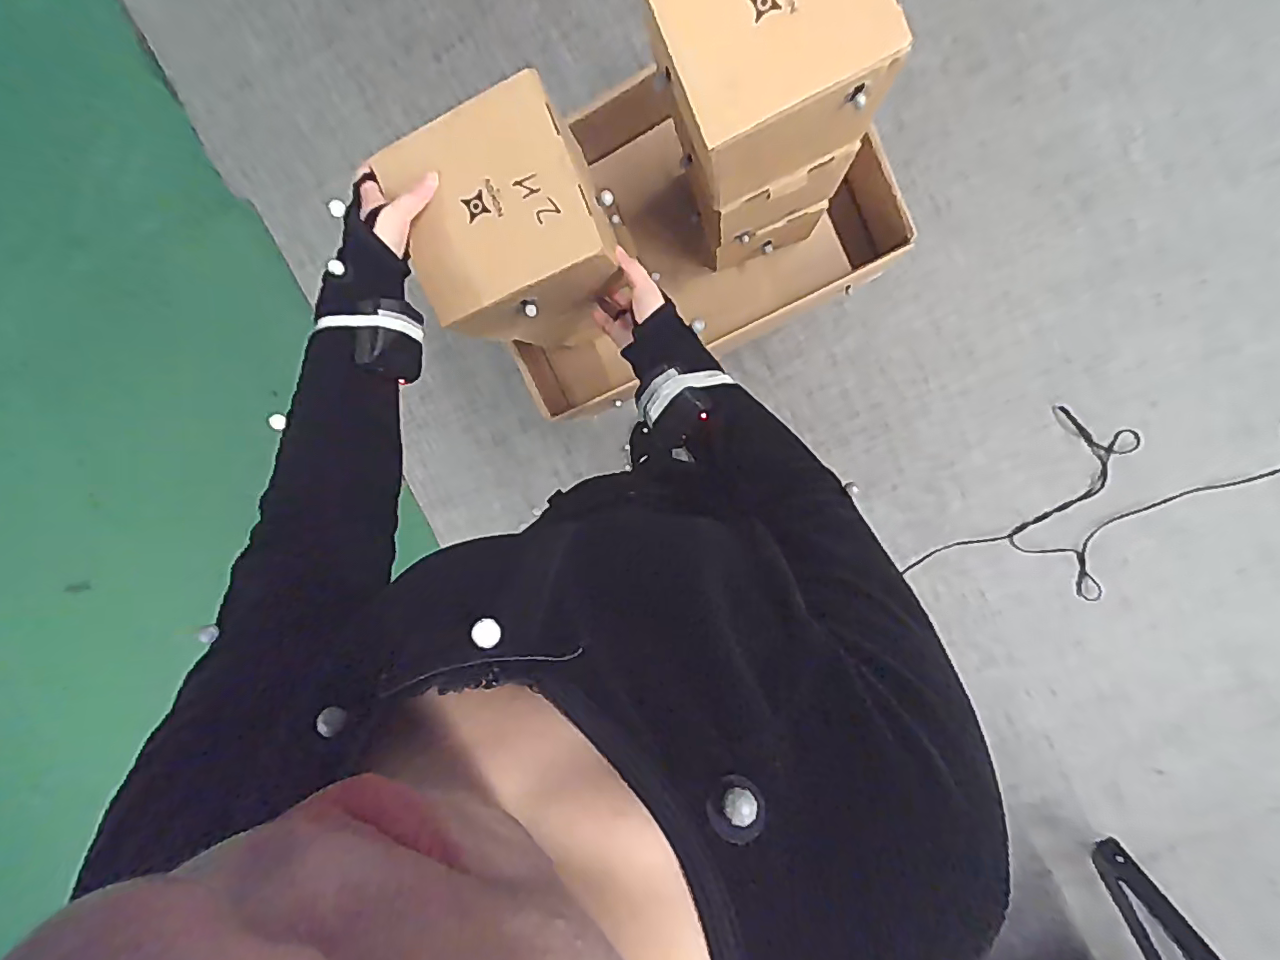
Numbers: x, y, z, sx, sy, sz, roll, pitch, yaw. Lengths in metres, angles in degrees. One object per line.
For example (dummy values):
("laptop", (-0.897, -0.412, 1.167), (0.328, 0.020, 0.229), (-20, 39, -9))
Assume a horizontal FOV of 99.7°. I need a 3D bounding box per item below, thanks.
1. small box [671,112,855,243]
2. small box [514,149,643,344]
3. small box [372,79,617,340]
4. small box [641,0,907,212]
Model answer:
("small box", (0.144, -0.419, 0.675), (0.168, 0.176, 0.179), (-21, 96, 11))
("small box", (-0.107, -0.295, 0.733), (0.168, 0.176, 0.179), (-23, 95, 10))
("small box", (-0.135, -0.263, 0.577), (0.179, 0.176, 0.168), (-24, 97, 6))
("small box", (0.117, -0.391, 0.518), (0.179, 0.176, 0.168), (-22, 96, 11))
